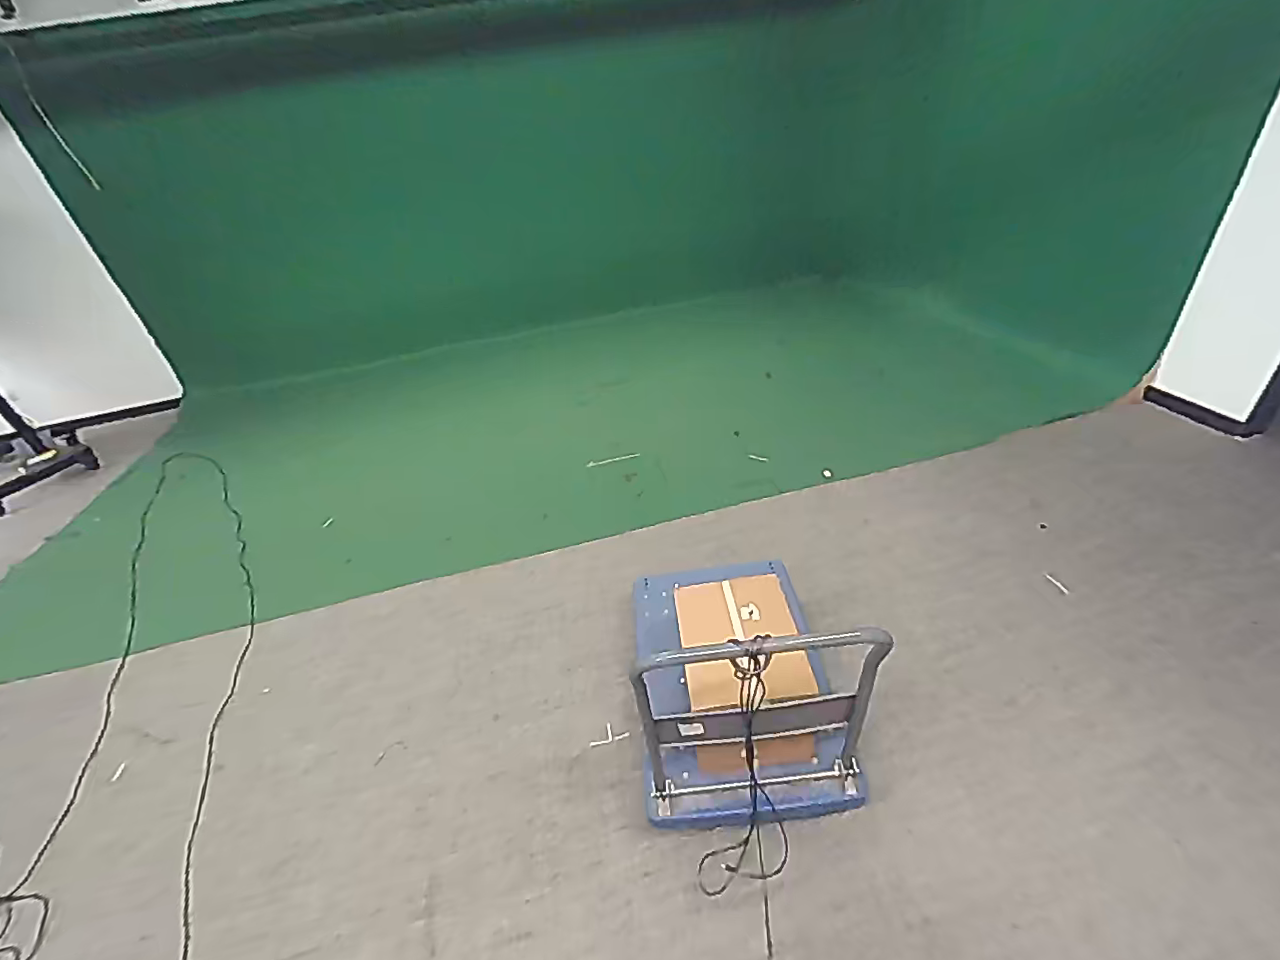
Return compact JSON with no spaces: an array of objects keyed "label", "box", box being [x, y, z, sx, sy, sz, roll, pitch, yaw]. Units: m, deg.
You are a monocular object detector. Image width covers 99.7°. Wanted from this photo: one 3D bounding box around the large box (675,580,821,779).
[{"label":"large box","box":[0.289,0.550,1.523,0.320,0.320,0.408,-8,34,2]}]
